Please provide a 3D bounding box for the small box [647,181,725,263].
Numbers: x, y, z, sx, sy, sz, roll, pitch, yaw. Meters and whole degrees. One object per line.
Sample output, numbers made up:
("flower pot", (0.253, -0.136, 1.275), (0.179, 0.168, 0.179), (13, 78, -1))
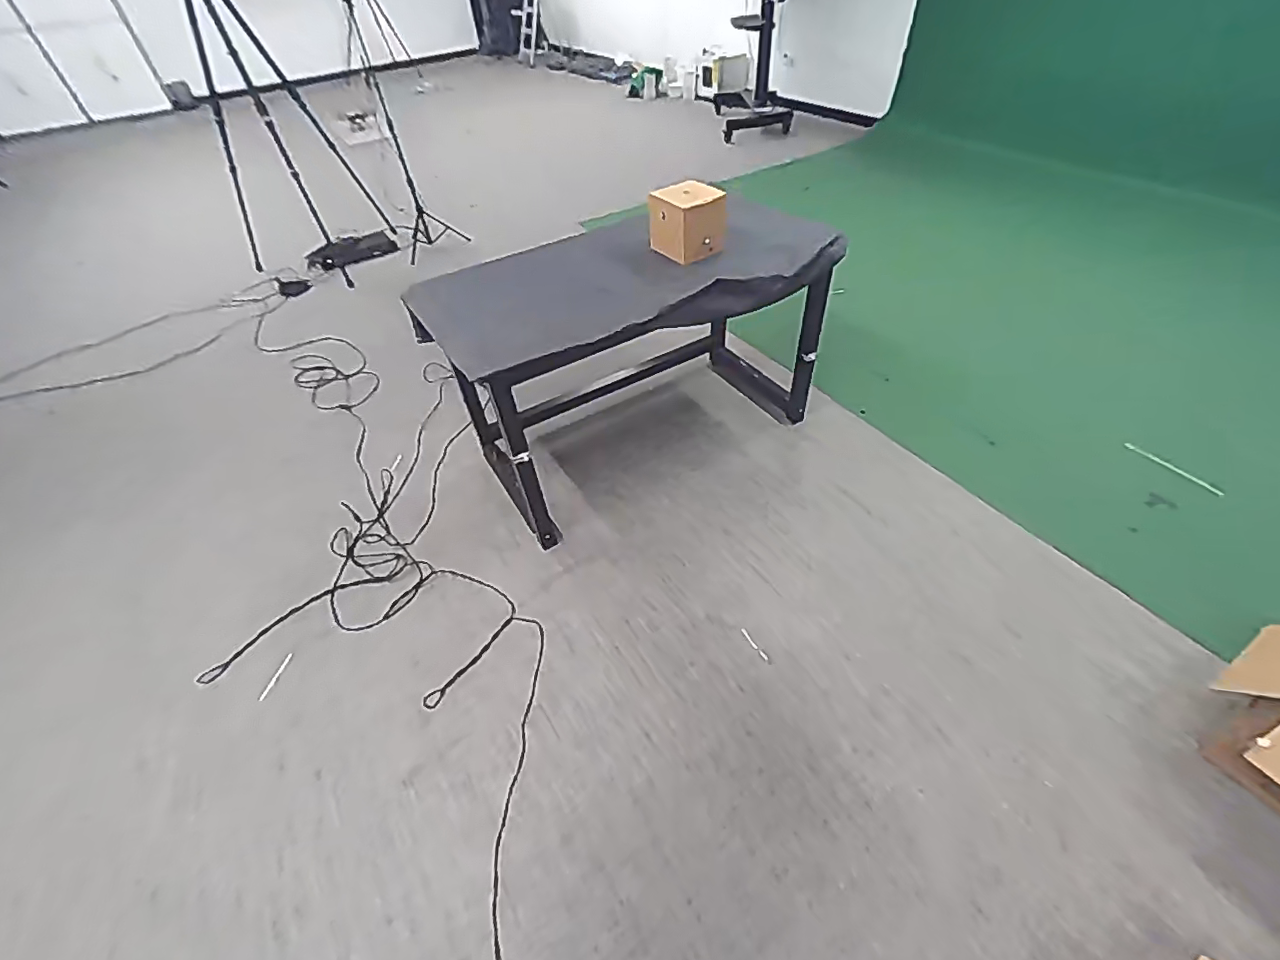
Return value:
("small box", (0.138, -0.787, 1.653), (0.168, 0.176, 0.179), (-29, 51, -21))
